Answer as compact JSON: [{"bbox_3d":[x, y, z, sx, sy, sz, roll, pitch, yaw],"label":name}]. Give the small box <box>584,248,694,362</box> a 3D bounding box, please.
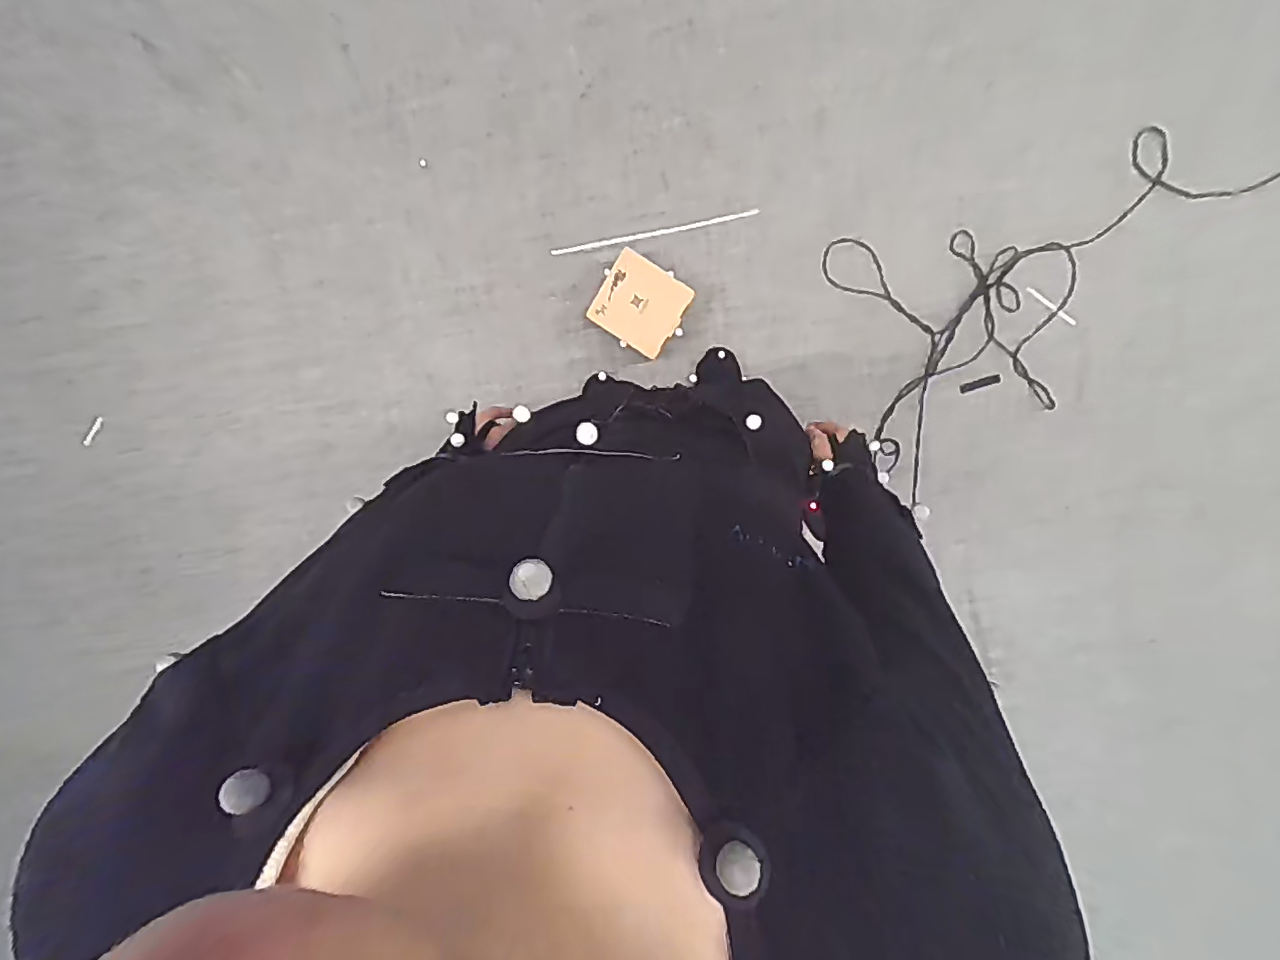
[{"bbox_3d":[0.003,-0.382,1.196,0.179,0.176,0.168,32,103,-4],"label":"small box"}]
